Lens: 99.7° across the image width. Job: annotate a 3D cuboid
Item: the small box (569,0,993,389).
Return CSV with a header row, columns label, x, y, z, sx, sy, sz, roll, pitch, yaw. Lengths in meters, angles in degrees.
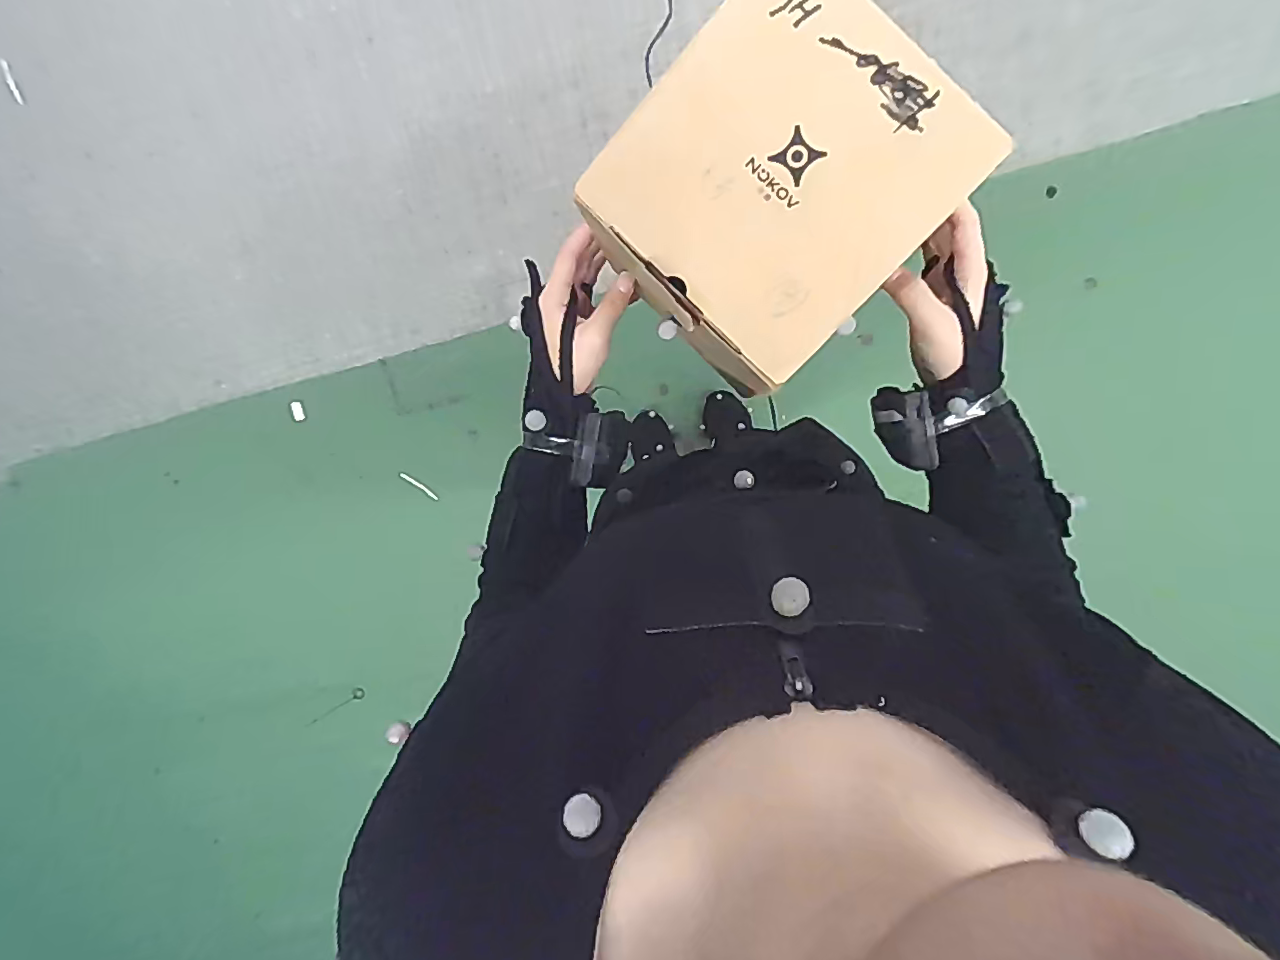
label,x,y,z,sx,sy,sz,roll,pitch,yaw
small box,0.083,-0.179,0.378,0.168,0.176,0.179,44,100,0
